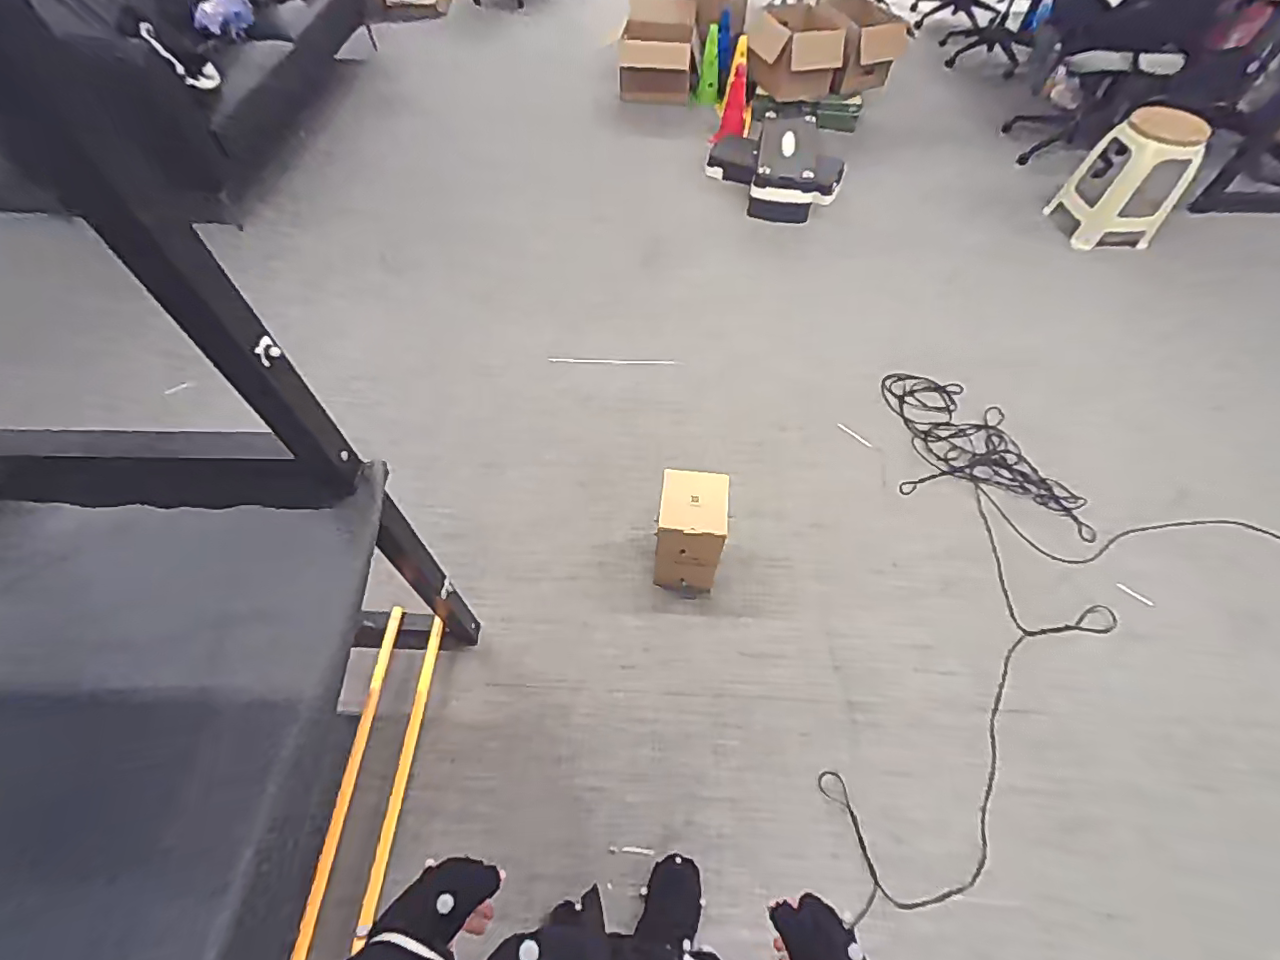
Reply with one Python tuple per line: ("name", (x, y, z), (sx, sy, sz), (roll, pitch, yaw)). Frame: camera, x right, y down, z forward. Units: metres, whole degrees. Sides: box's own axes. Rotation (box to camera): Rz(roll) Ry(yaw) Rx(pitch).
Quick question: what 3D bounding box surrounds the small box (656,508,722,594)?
("small box", (0.136, 0.202, 1.526), (0.168, 0.176, 0.179), (6, 57, 5))
